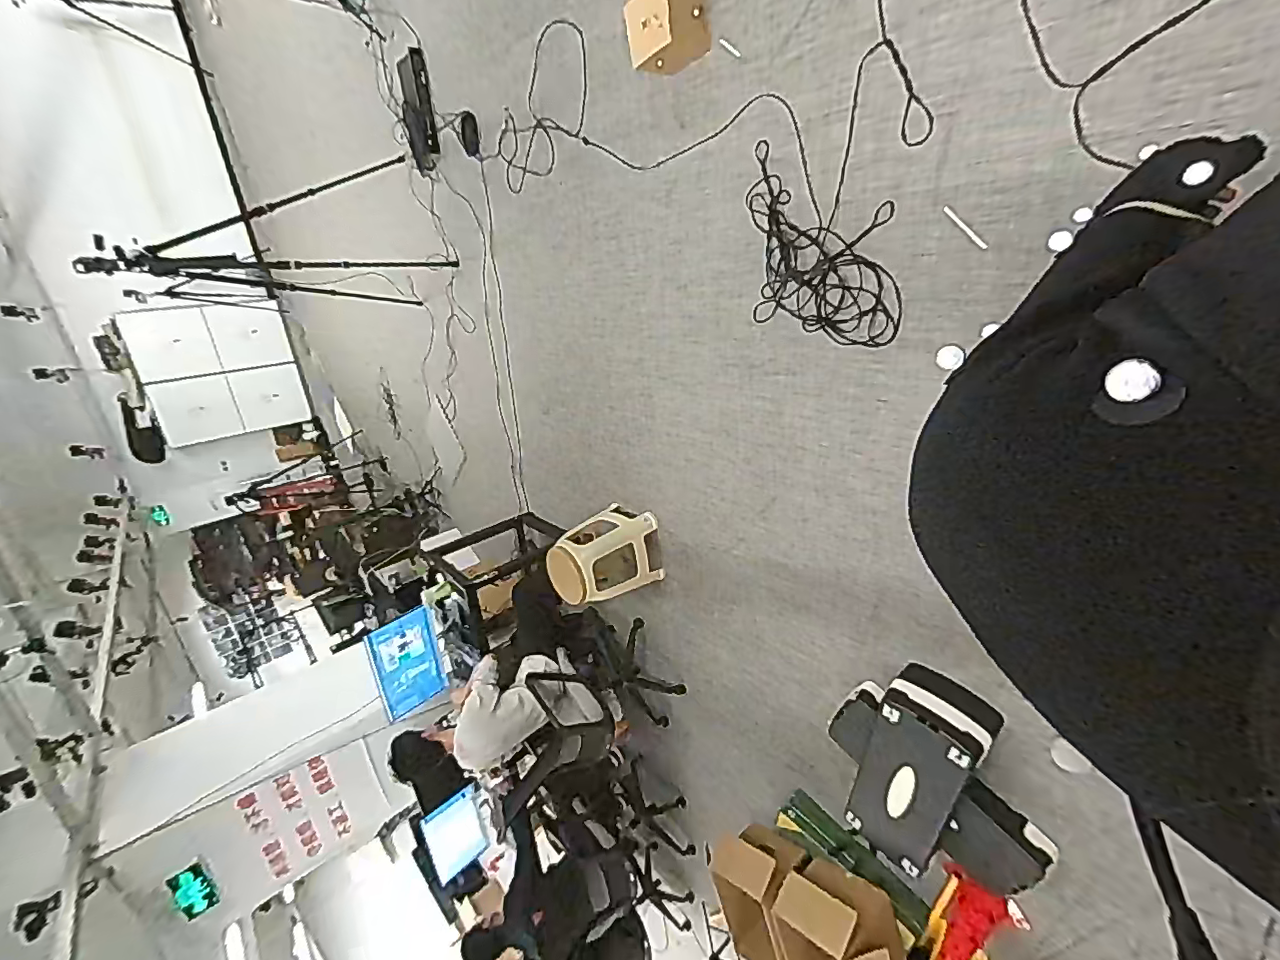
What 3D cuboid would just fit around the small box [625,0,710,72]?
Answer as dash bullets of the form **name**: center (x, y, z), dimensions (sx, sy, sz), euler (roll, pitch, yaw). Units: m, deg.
- **small box**: center (0.084, -1.356, 1.616), dimensions (0.179, 0.176, 0.168), euler (9, 116, 50)
